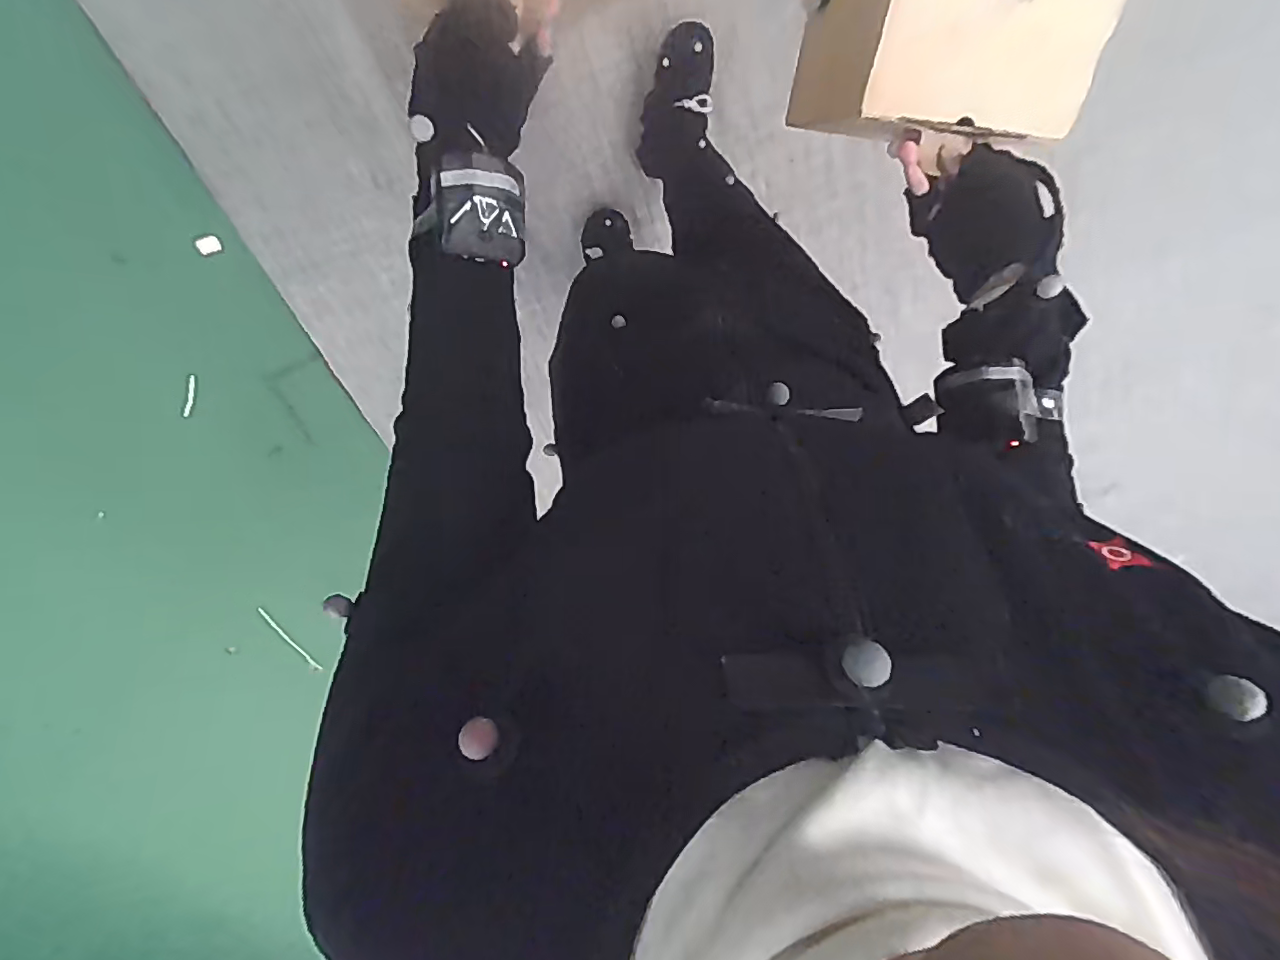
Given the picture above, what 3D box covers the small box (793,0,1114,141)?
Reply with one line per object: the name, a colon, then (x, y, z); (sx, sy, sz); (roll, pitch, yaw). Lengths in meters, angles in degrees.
small box: (0.238, -0.380, 0.428); (0.168, 0.176, 0.179); (2, 121, -9)
